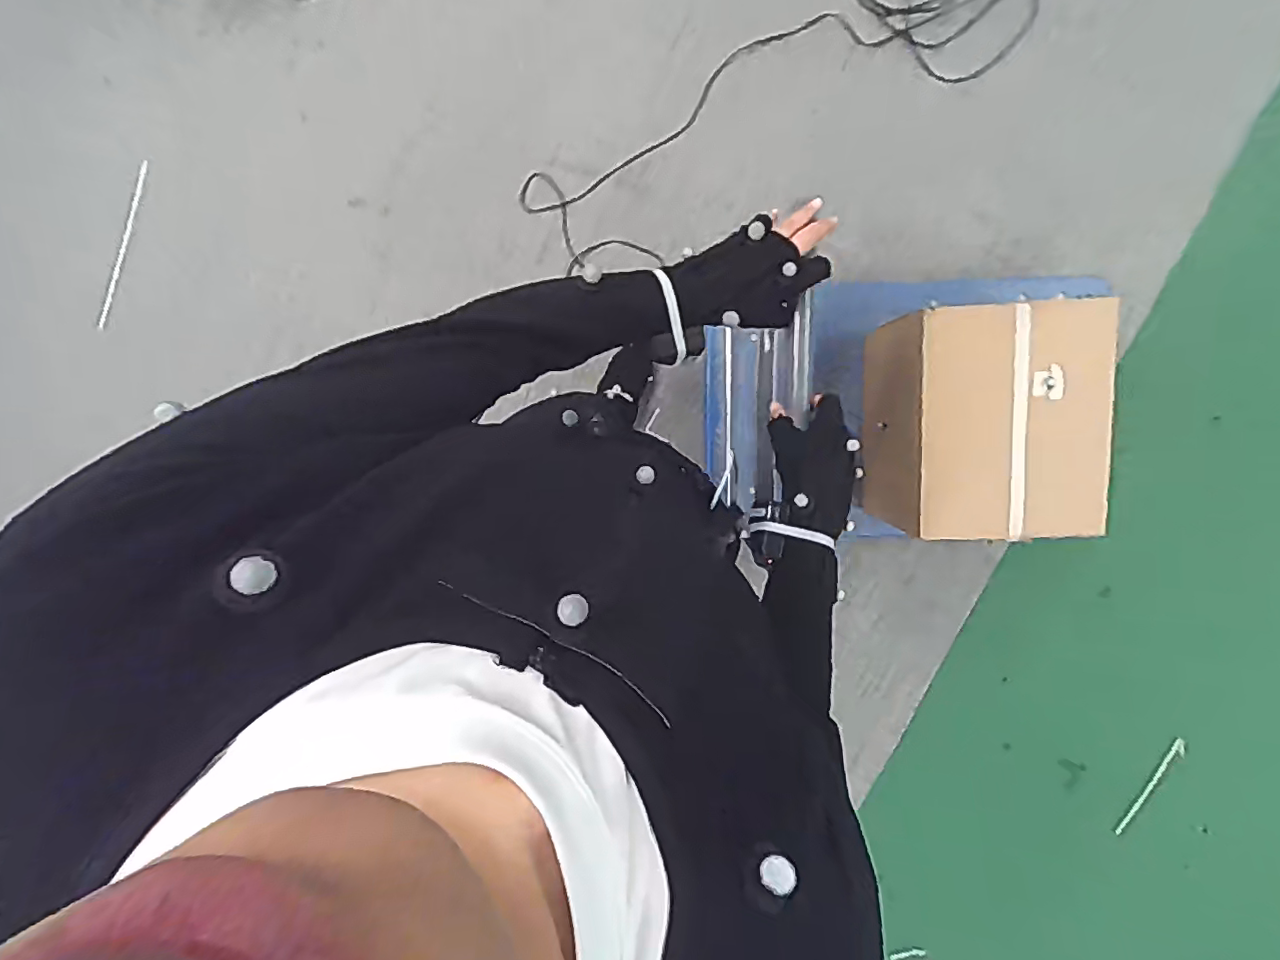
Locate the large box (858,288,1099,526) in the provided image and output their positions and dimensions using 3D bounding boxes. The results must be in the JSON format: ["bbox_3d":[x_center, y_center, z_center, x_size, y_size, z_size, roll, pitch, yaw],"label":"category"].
[{"bbox_3d":[0.644,-0.136,1.089,0.320,0.320,0.408,-2,96,4],"label":"large box"}]
